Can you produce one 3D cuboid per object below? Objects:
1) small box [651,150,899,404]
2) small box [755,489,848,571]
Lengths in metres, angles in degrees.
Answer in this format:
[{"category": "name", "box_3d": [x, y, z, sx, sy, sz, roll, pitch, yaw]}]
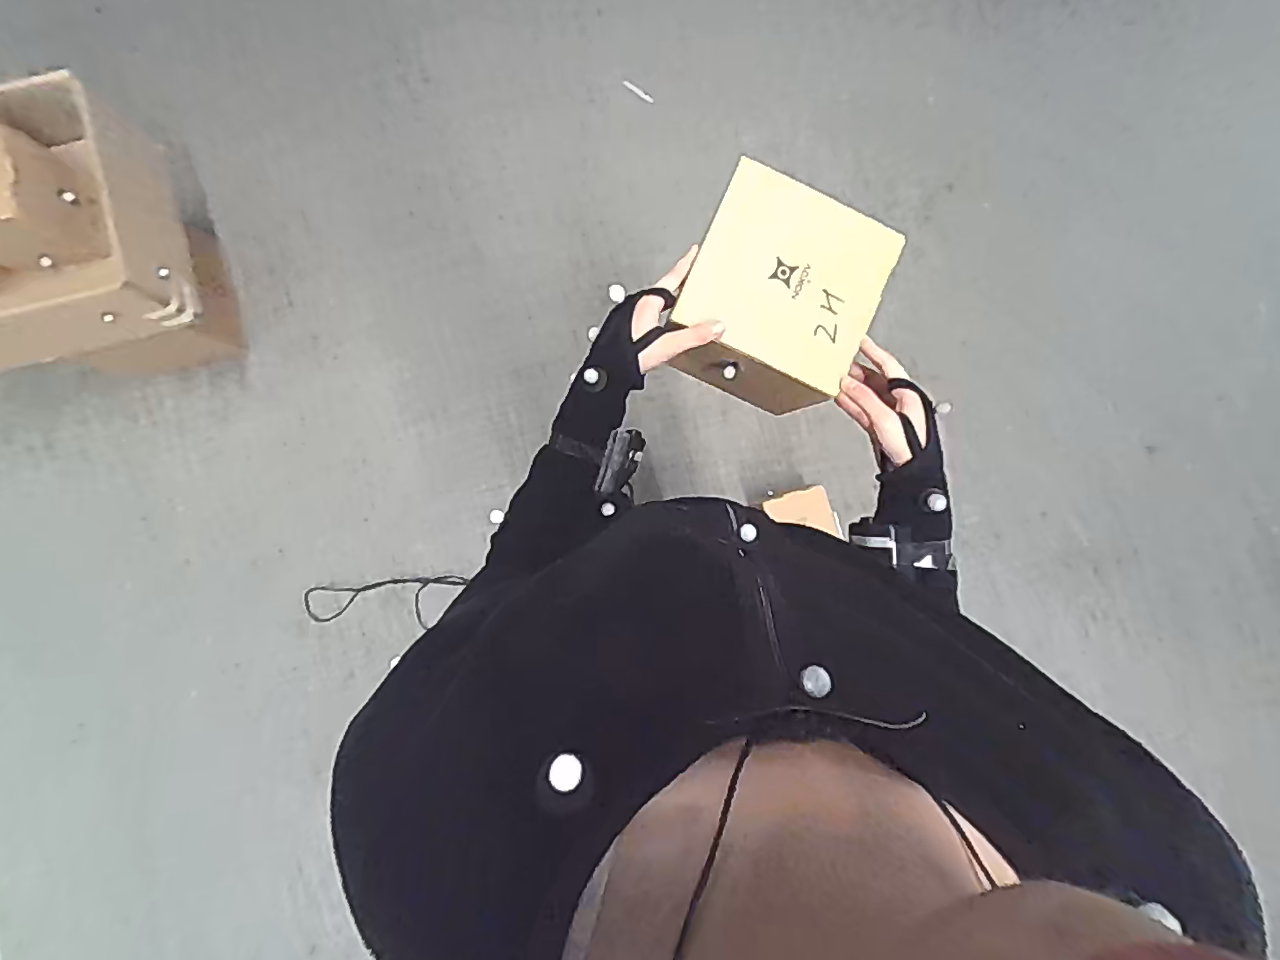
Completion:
[{"category": "small box", "box_3d": [0.122, -0.191, 0.569, 0.179, 0.176, 0.168, 24, 89, -4]}, {"category": "small box", "box_3d": [0.419, 0.129, 1.434, 0.168, 0.176, 0.179, -16, 89, -1]}]
